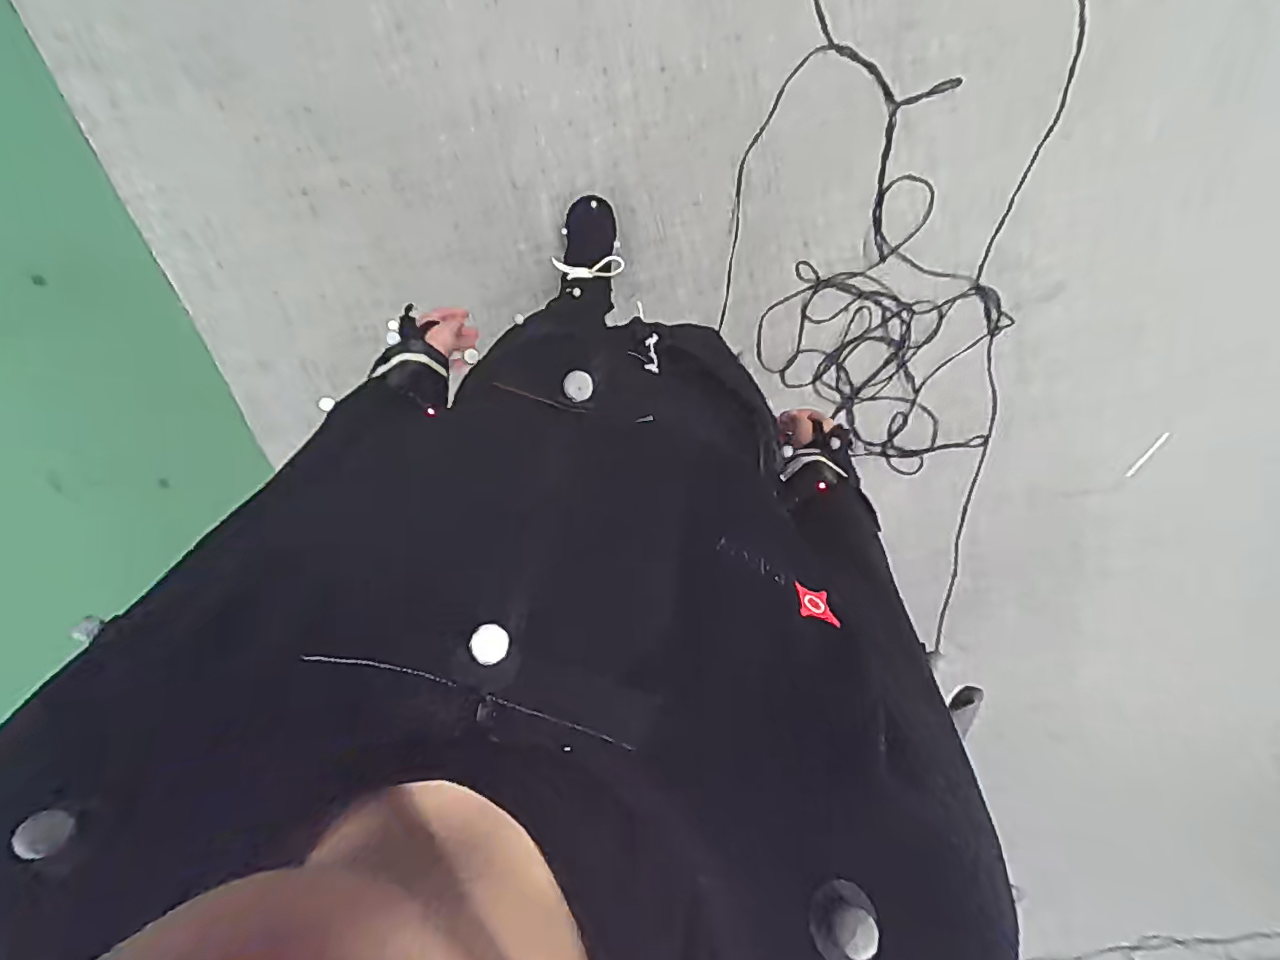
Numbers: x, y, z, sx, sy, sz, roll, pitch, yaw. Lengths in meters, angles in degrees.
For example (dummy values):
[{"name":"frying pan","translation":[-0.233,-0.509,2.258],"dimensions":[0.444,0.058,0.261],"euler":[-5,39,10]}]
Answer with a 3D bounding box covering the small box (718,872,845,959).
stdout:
[{"name":"small box","translation":[0.230,0.746,0.839],"dimensions":[0.168,0.176,0.179],"euler":[-20,112,7]}]
